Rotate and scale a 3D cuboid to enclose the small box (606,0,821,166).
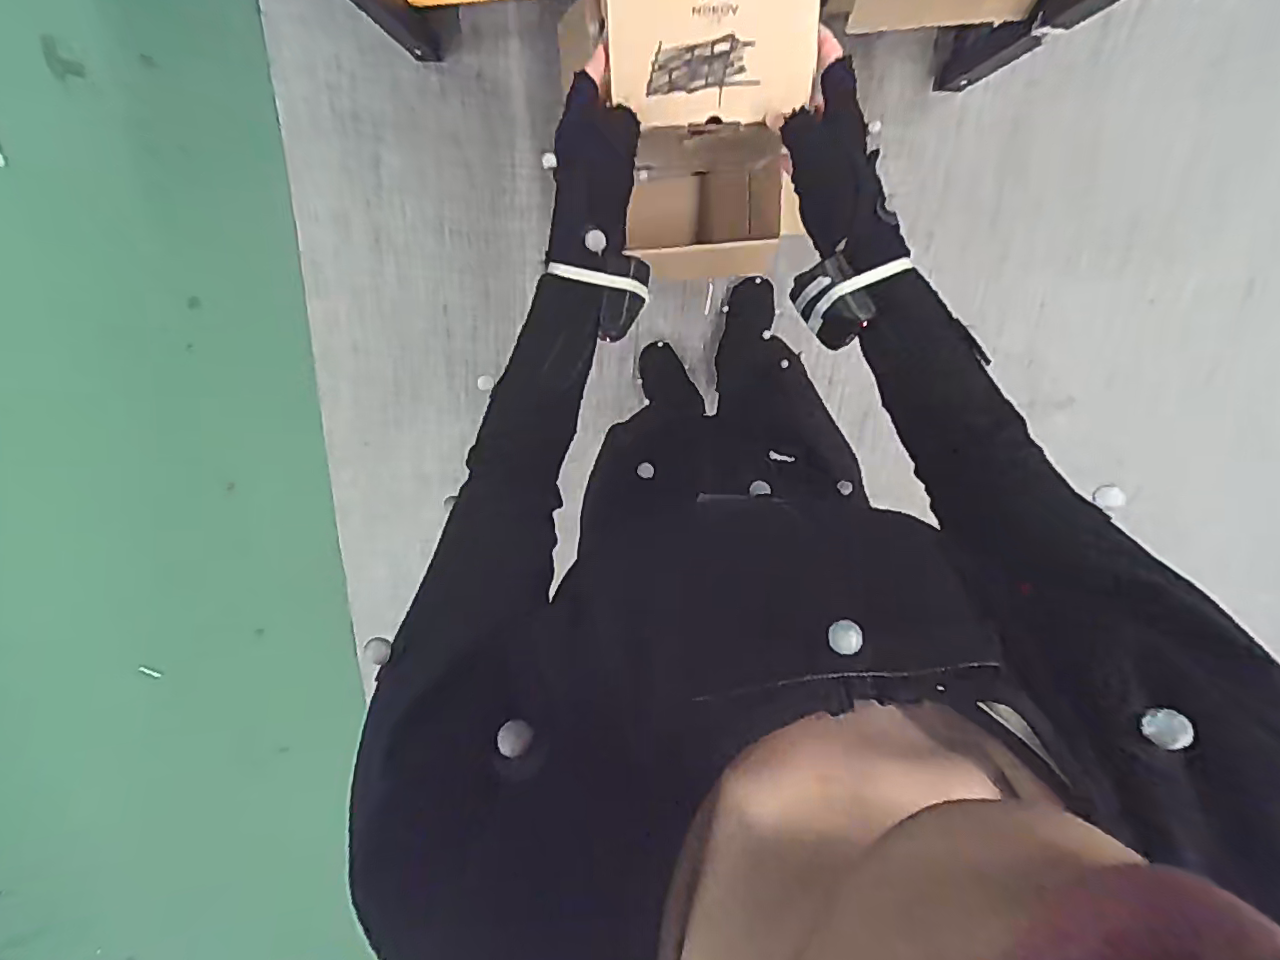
[{"bbox_3d":[0.054,-0.395,0.486,0.168,0.176,0.179,-4,109,-2],"label":"small box"}]
